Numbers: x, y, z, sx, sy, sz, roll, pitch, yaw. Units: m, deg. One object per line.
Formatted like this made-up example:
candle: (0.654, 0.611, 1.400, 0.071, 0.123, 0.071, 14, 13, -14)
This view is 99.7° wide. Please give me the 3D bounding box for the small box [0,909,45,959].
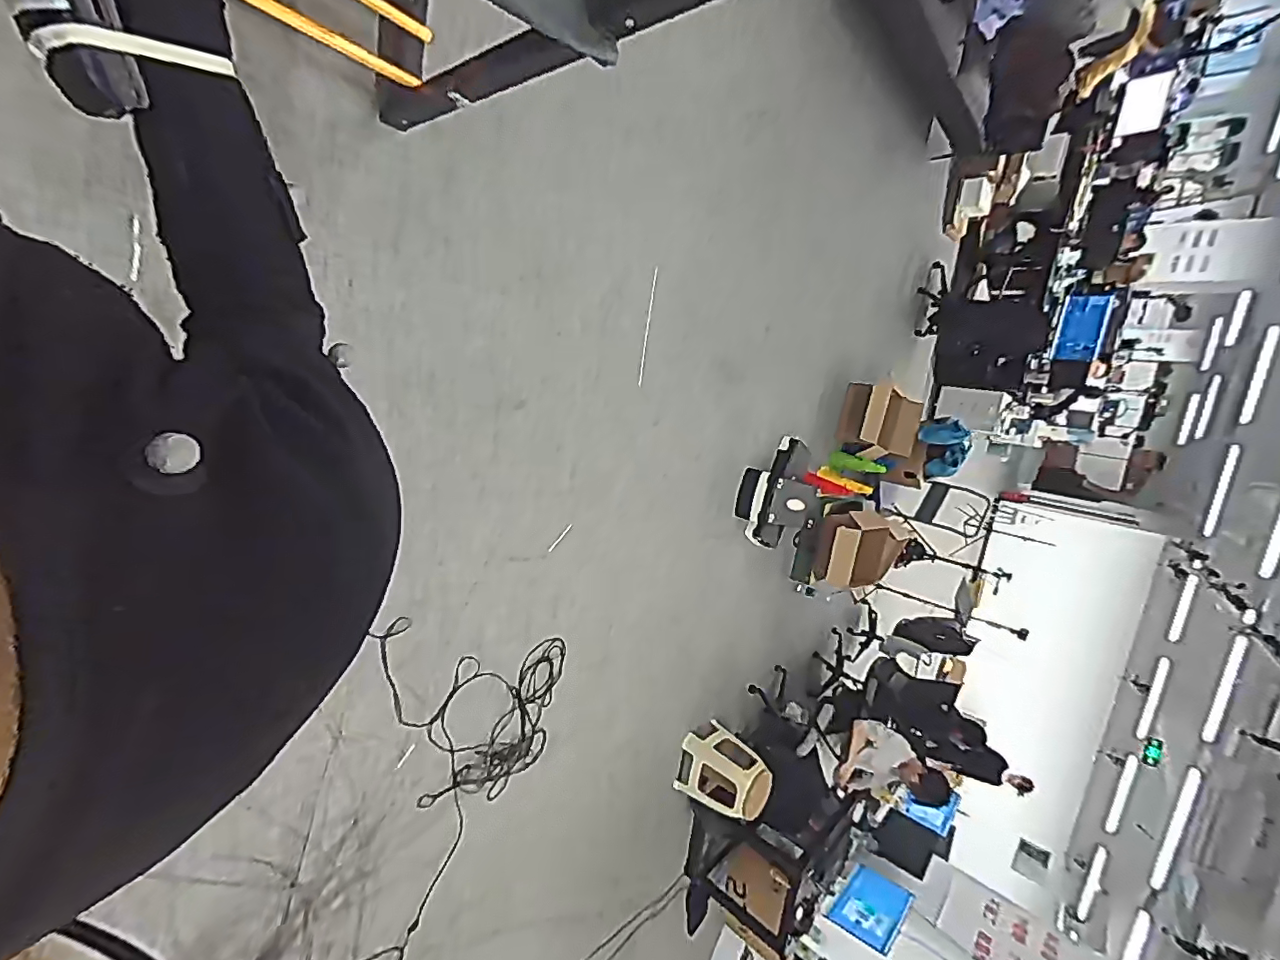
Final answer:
small box: (-1.305, 1.022, 1.074, 0.168, 0.176, 0.179, -6, 106, -51)
